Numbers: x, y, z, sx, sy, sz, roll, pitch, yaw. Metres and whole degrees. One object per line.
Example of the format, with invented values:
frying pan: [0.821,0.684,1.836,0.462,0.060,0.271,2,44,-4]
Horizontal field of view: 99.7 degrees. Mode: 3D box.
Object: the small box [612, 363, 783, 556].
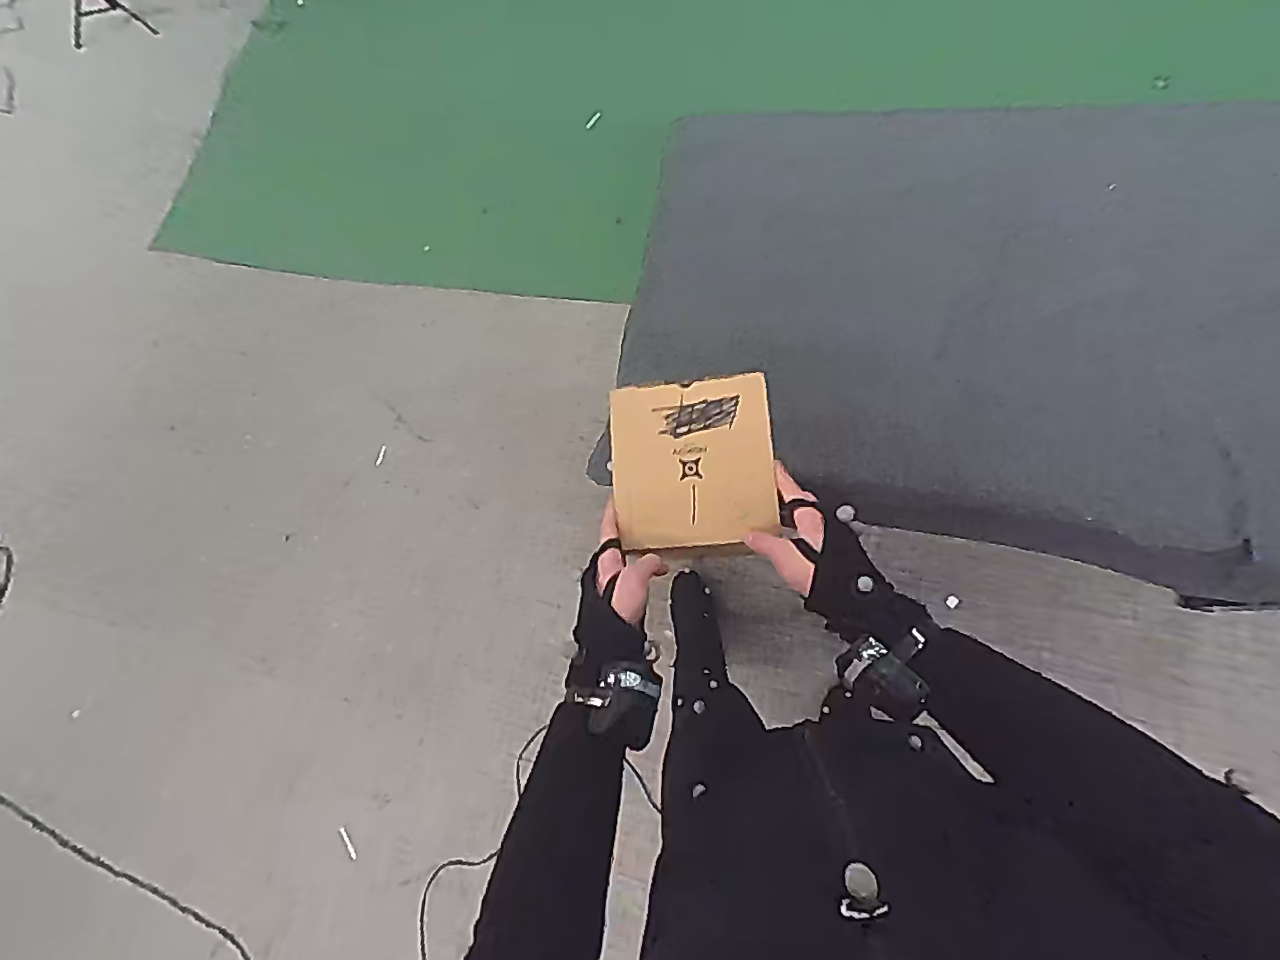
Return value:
small box: [0.064,-0.011,0.615,0.168,0.176,0.179,-5,77,9]
